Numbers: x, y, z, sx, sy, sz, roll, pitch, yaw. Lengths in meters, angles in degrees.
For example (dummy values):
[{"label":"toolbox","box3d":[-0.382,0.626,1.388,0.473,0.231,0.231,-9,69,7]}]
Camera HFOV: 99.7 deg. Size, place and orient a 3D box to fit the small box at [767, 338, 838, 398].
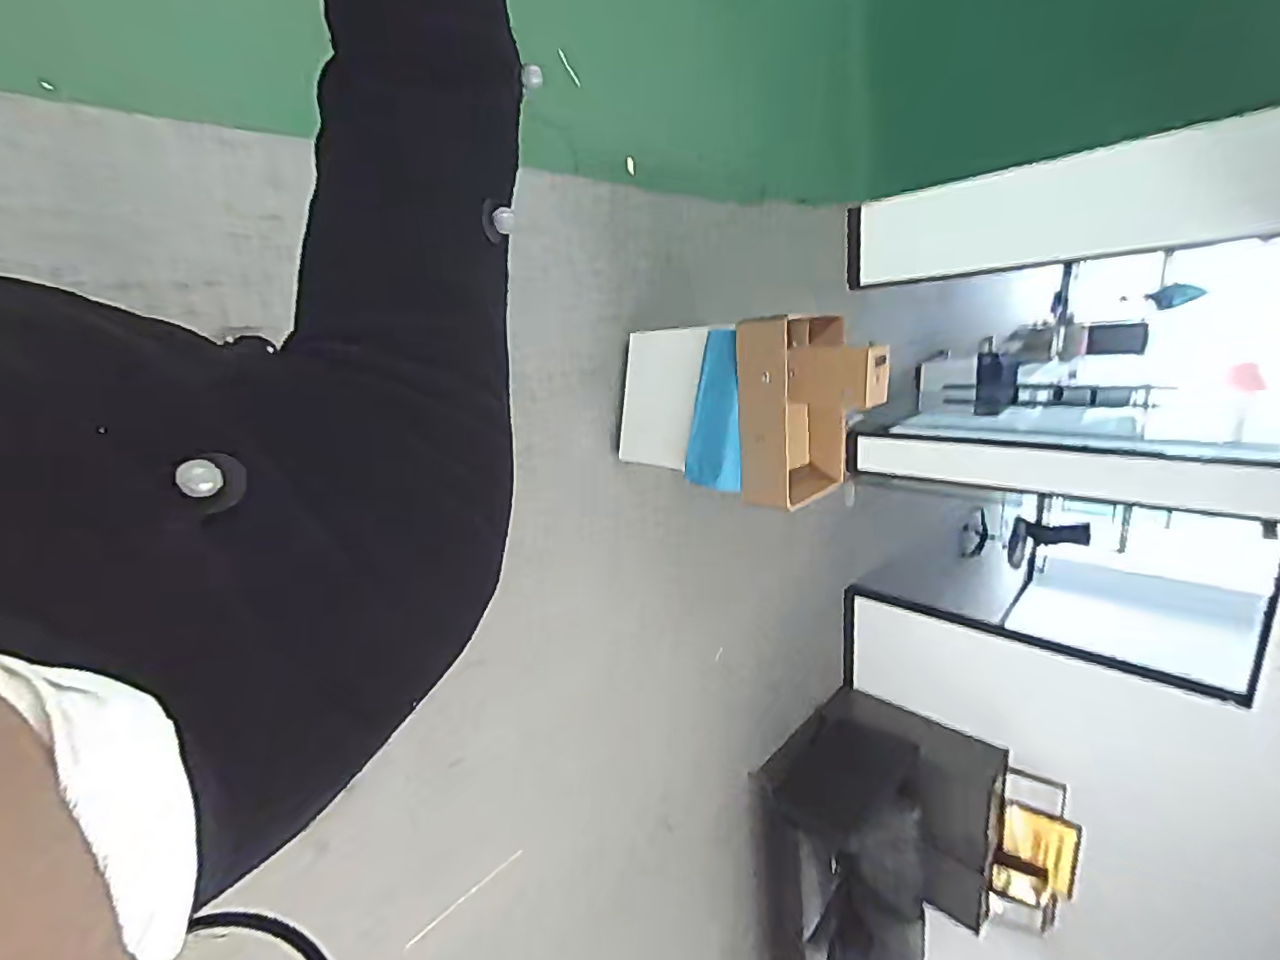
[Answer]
[{"label":"small box","box3d":[0.532,-0.374,1.785,0.168,0.176,0.179,-18,113,-43]}]
